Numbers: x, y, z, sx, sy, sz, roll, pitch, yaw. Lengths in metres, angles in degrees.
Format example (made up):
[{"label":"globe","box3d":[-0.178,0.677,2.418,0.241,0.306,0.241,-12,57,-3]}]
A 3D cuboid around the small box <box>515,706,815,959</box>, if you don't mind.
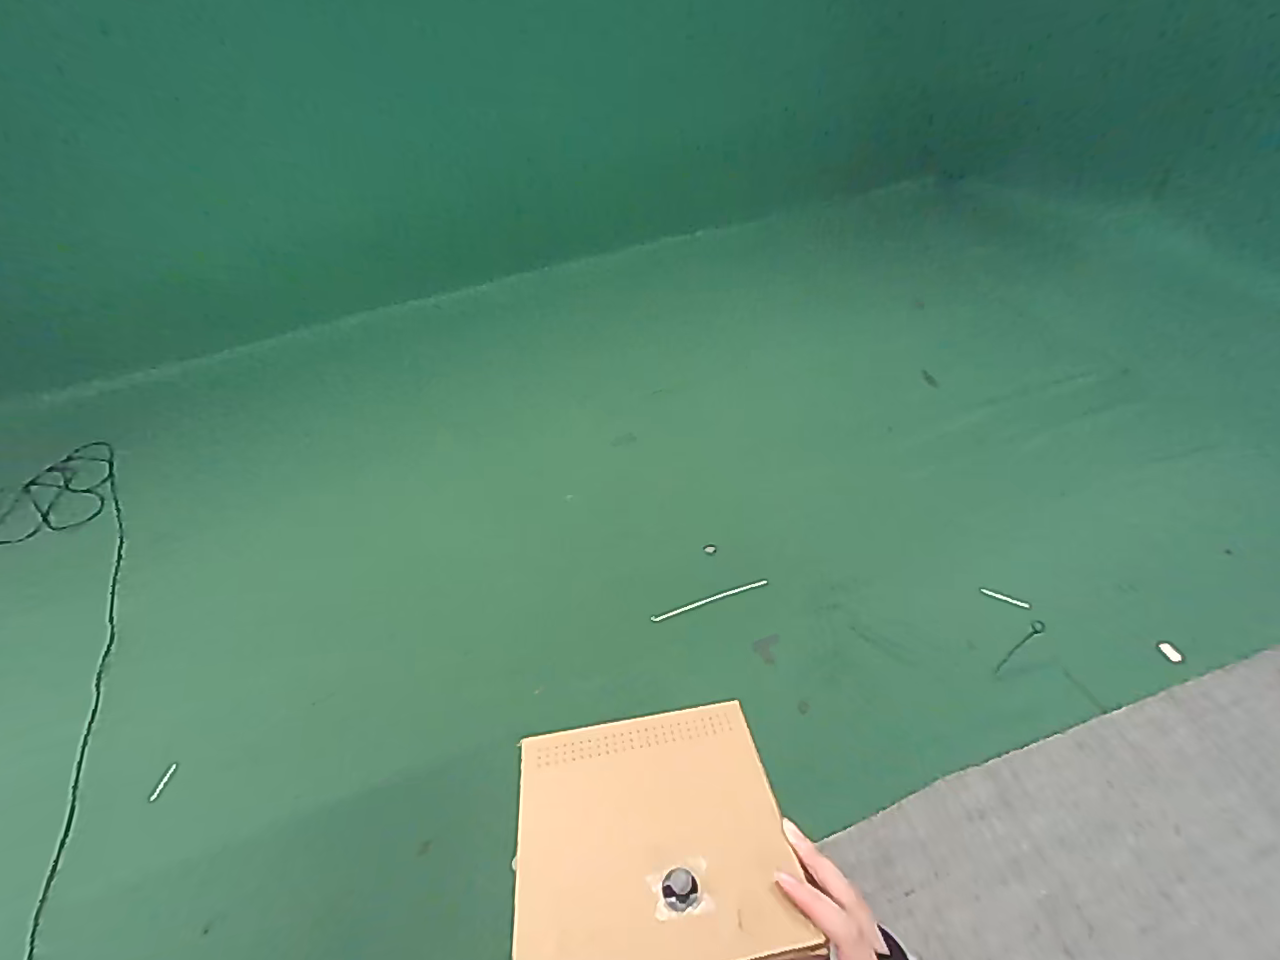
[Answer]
[{"label":"small box","box3d":[0.006,0.294,0.402,0.179,0.168,0.176,-7,28,-5]}]
